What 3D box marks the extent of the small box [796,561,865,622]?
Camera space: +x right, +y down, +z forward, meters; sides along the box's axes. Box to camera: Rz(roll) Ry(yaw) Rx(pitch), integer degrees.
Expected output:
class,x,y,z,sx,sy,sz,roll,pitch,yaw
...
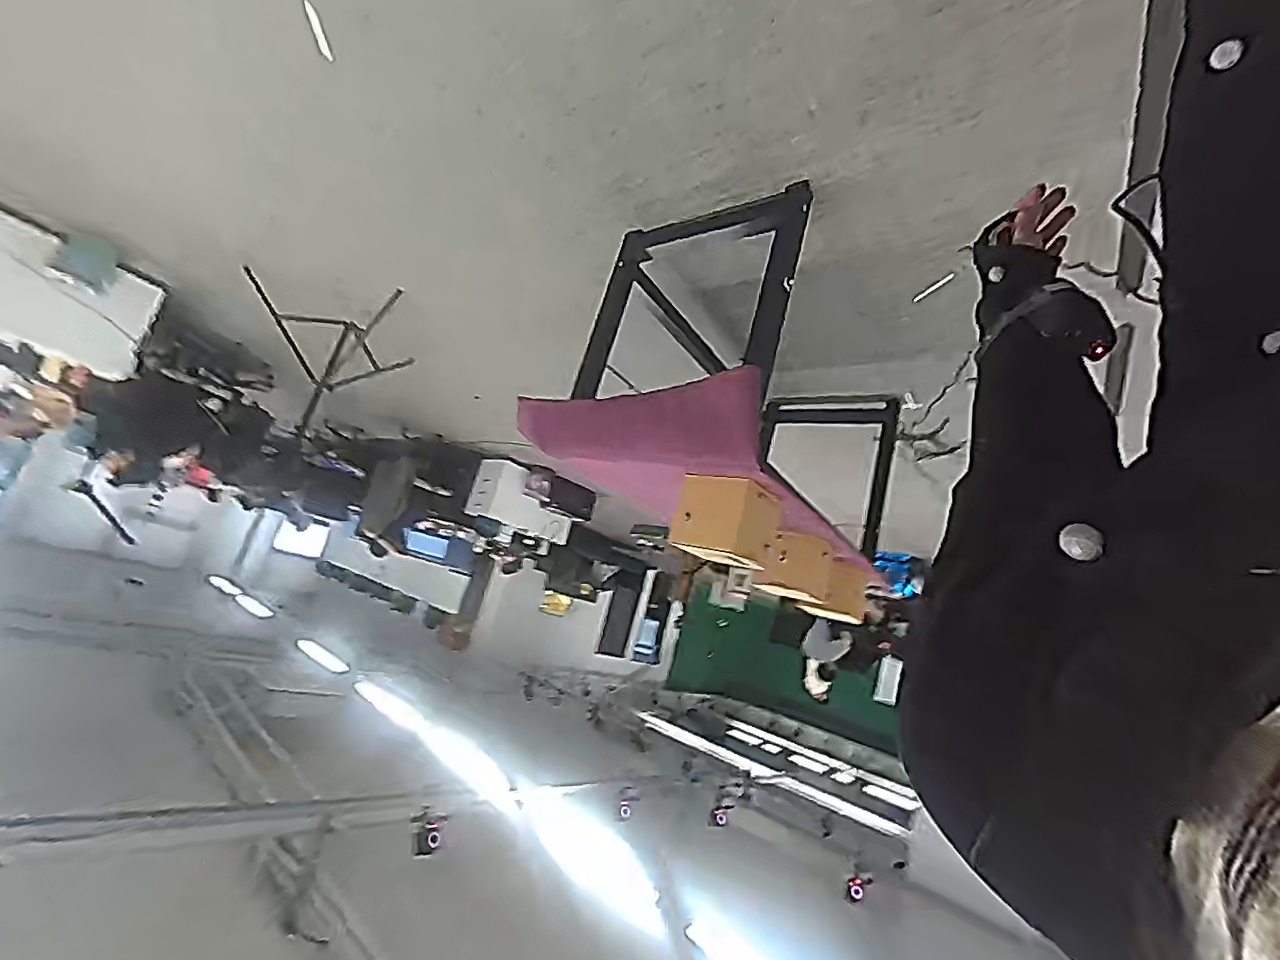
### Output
class,x,y,z,sx,sy,sz,roll,pitch,yaw
small box,0.663,0.376,1.862,0.179,0.176,0.168,6,162,39

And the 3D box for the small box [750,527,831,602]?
class,x,y,z,sx,sy,sz,roll,pitch,yaw
small box,0.443,0.245,1.579,0.168,0.176,0.179,5,162,38
